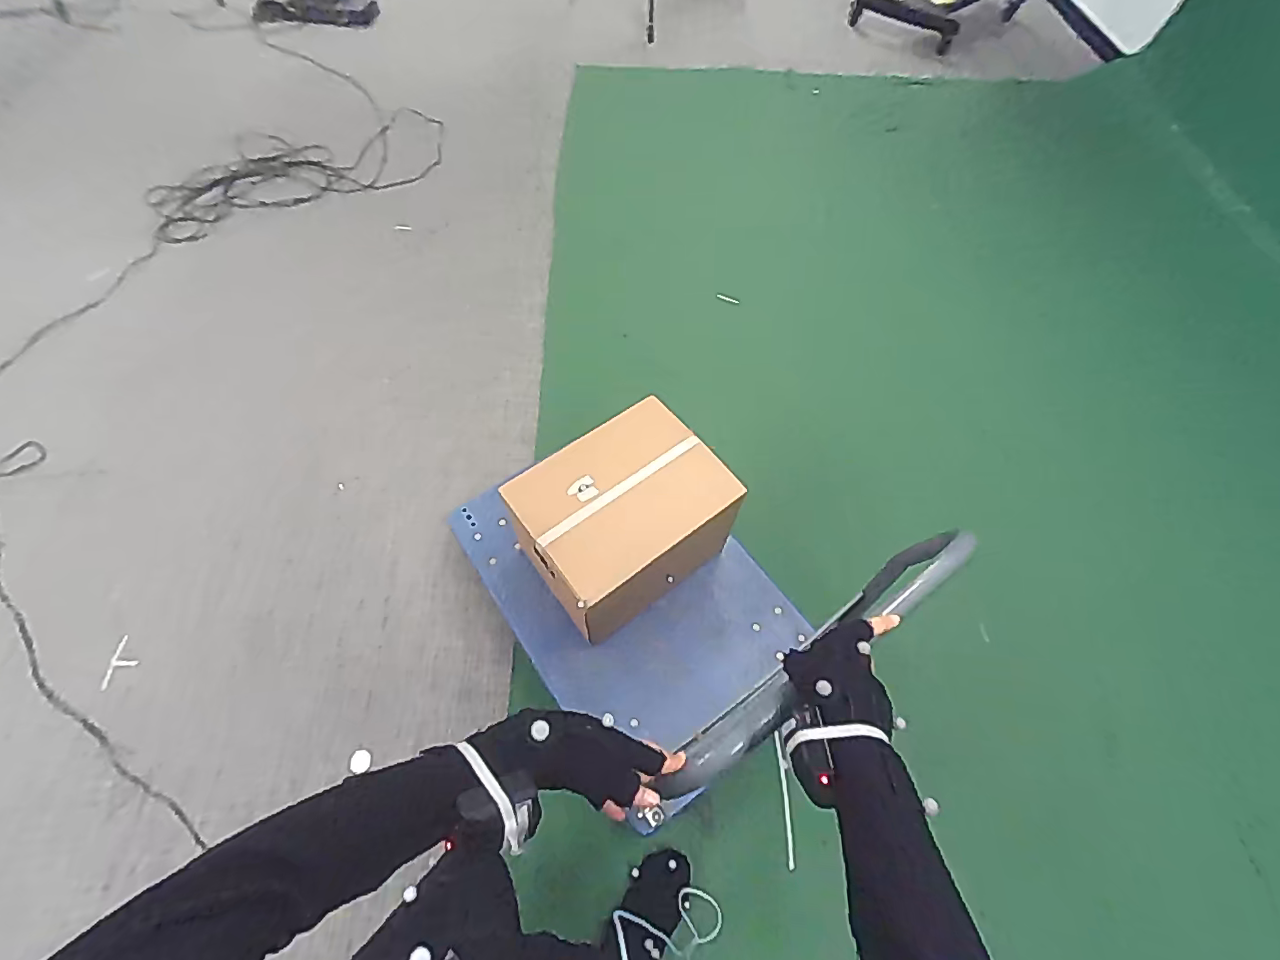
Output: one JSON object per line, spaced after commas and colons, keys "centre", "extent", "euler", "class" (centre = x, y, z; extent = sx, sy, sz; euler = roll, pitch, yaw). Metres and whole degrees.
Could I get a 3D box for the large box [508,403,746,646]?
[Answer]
{"centre": [-0.027, 0.107, 1.232], "extent": [0.408, 0.320, 0.320], "euler": [-34, 66, -19], "class": "large box"}
